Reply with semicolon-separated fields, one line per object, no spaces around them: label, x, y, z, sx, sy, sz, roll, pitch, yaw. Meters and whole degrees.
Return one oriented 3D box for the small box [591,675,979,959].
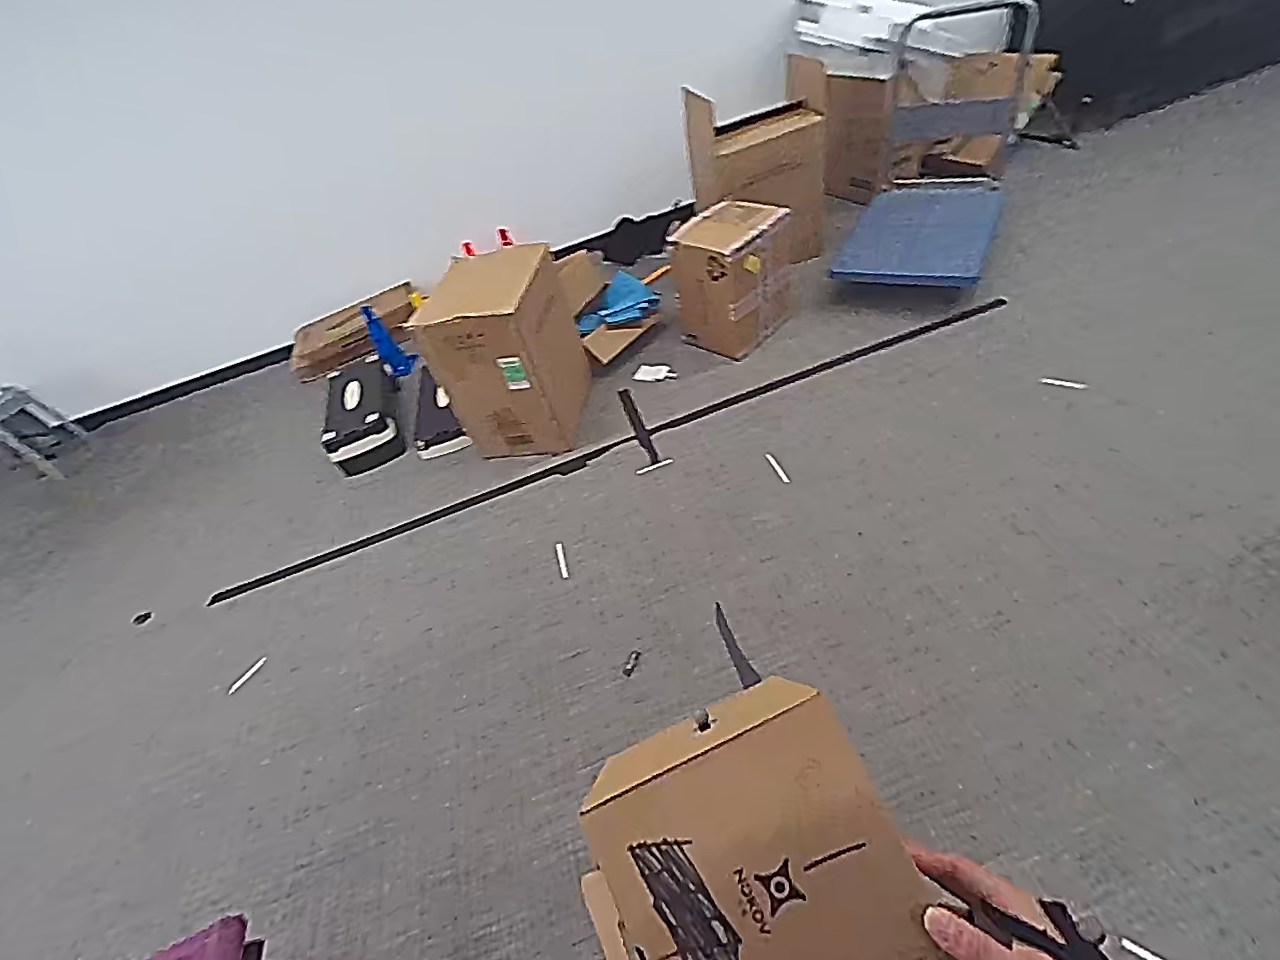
small box;0.084;0.257;0.393;0.179;0.176;0.168;-24;74;-5
